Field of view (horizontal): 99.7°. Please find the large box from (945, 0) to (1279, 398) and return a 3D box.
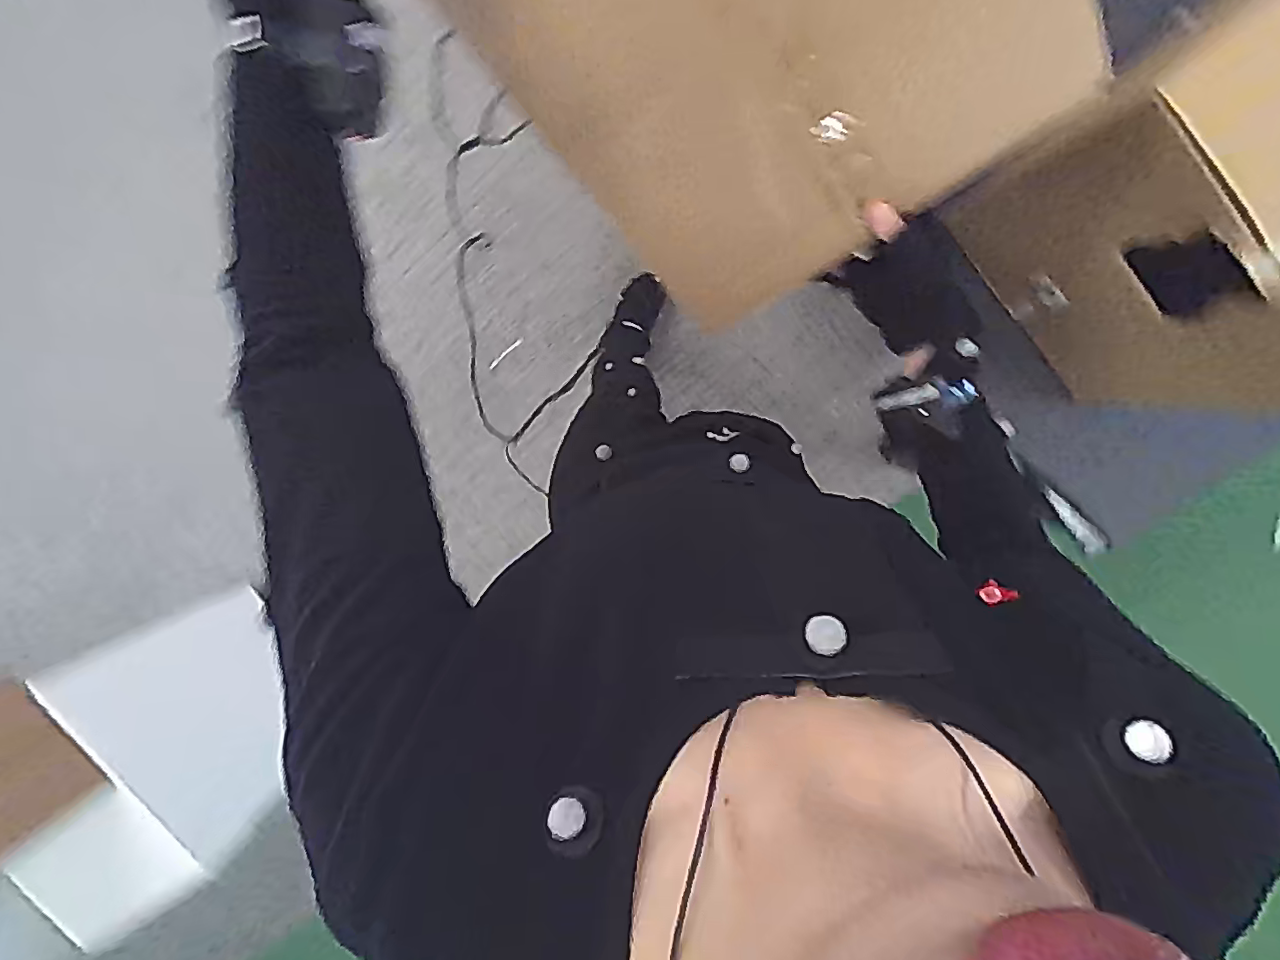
[{"bbox_3d":[0.614,-0.326,0.520,0.408,0.320,0.320,-40,95,7],"label":"large box"}]
